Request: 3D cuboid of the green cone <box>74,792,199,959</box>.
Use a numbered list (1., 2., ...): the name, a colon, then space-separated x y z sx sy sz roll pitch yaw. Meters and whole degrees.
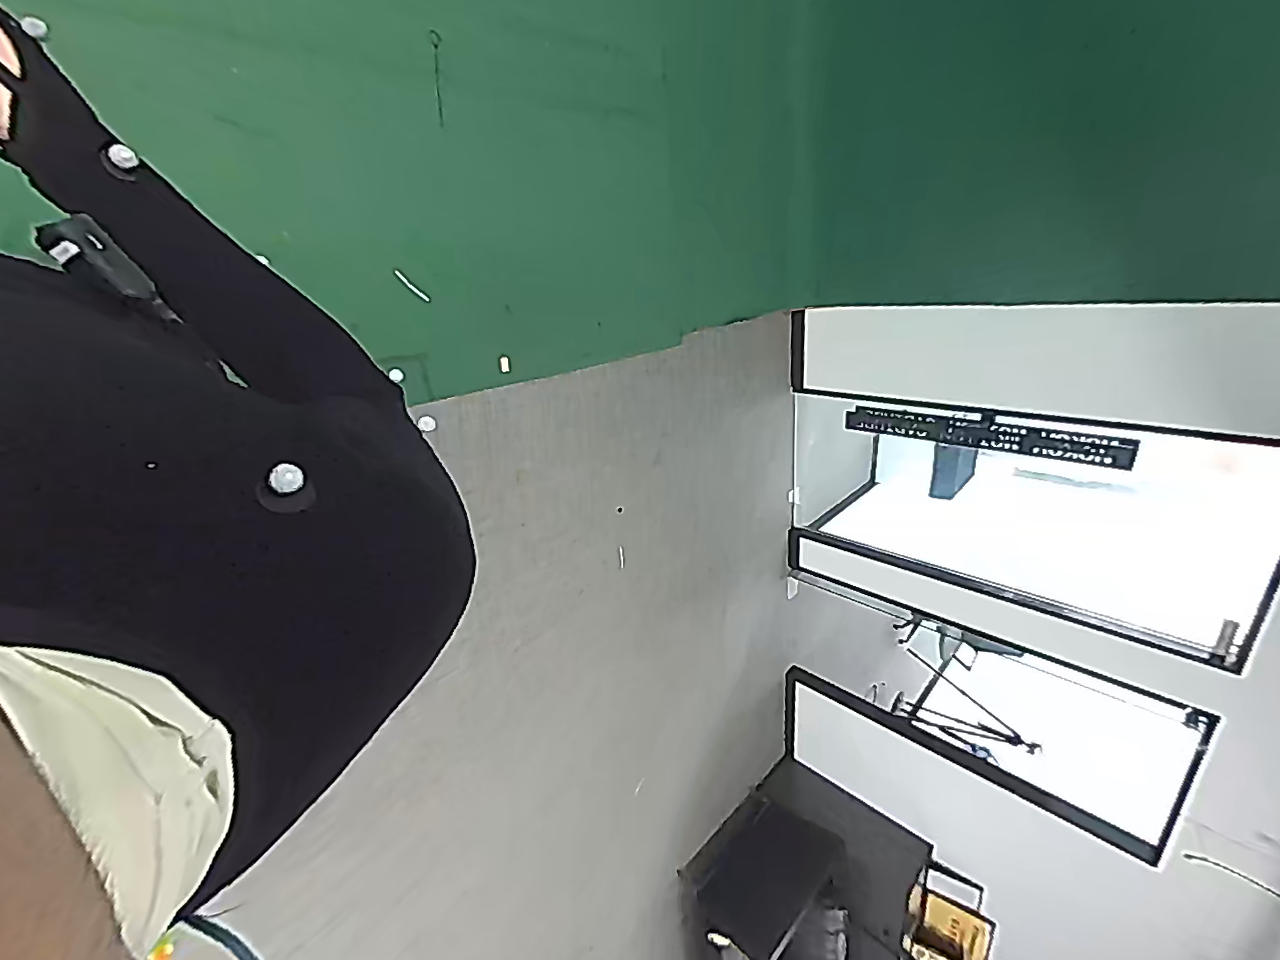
1. green cone: -1.187 0.977 1.293 0.202 0.368 0.200 -24 119 -38
